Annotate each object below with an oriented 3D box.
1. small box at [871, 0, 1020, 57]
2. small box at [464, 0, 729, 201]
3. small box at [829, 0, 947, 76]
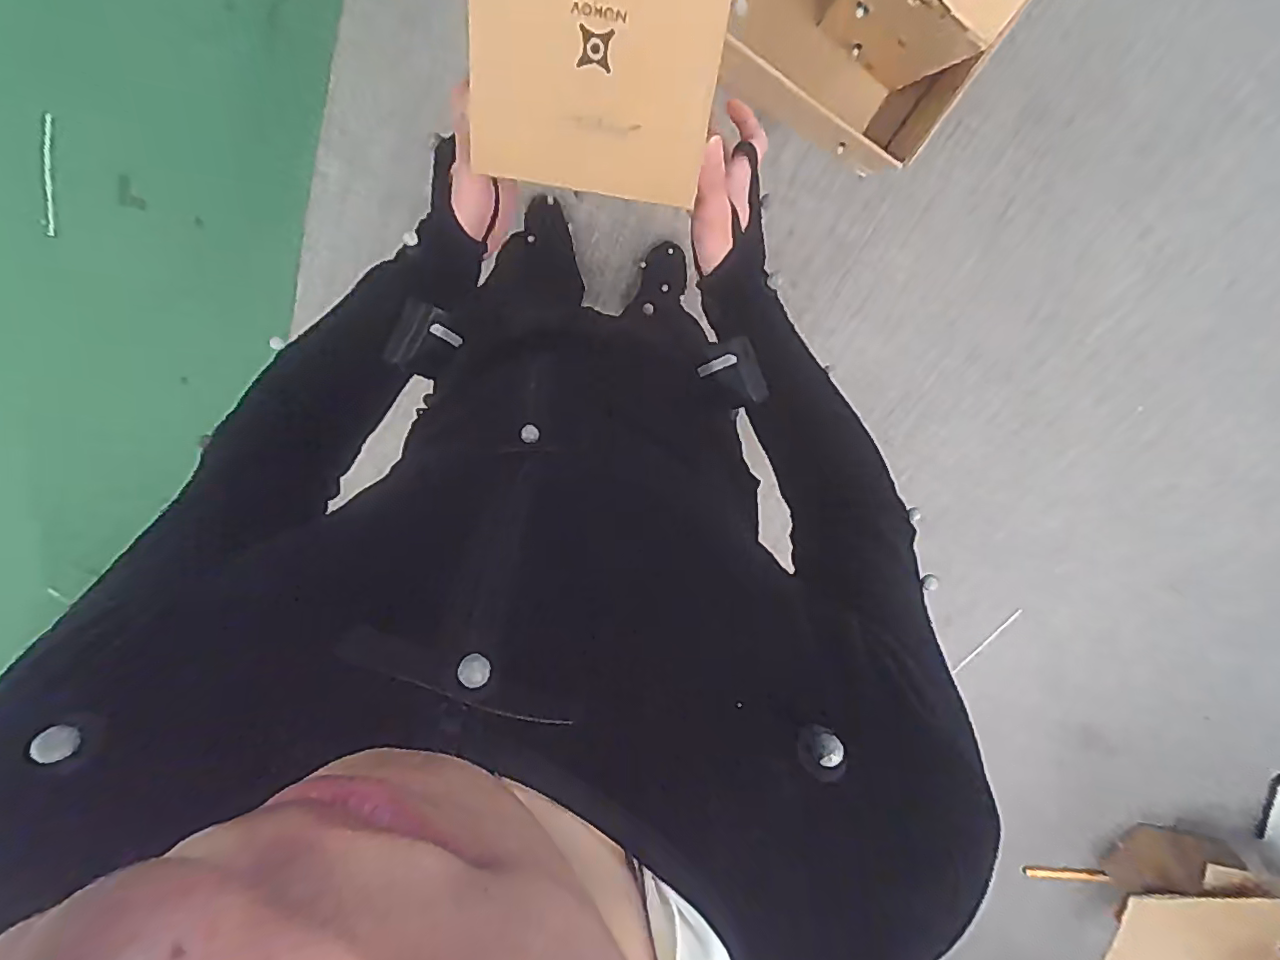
[{"bbox_3d":[0.375,-0.631,0.614,0.168,0.176,0.179,30,117,-12],"label":"small box"},{"bbox_3d":[-0.026,-0.329,0.411,0.168,0.176,0.179,9,122,-1],"label":"small box"},{"bbox_3d":[0.392,-0.714,0.756,0.168,0.176,0.179,29,118,-11],"label":"small box"}]
